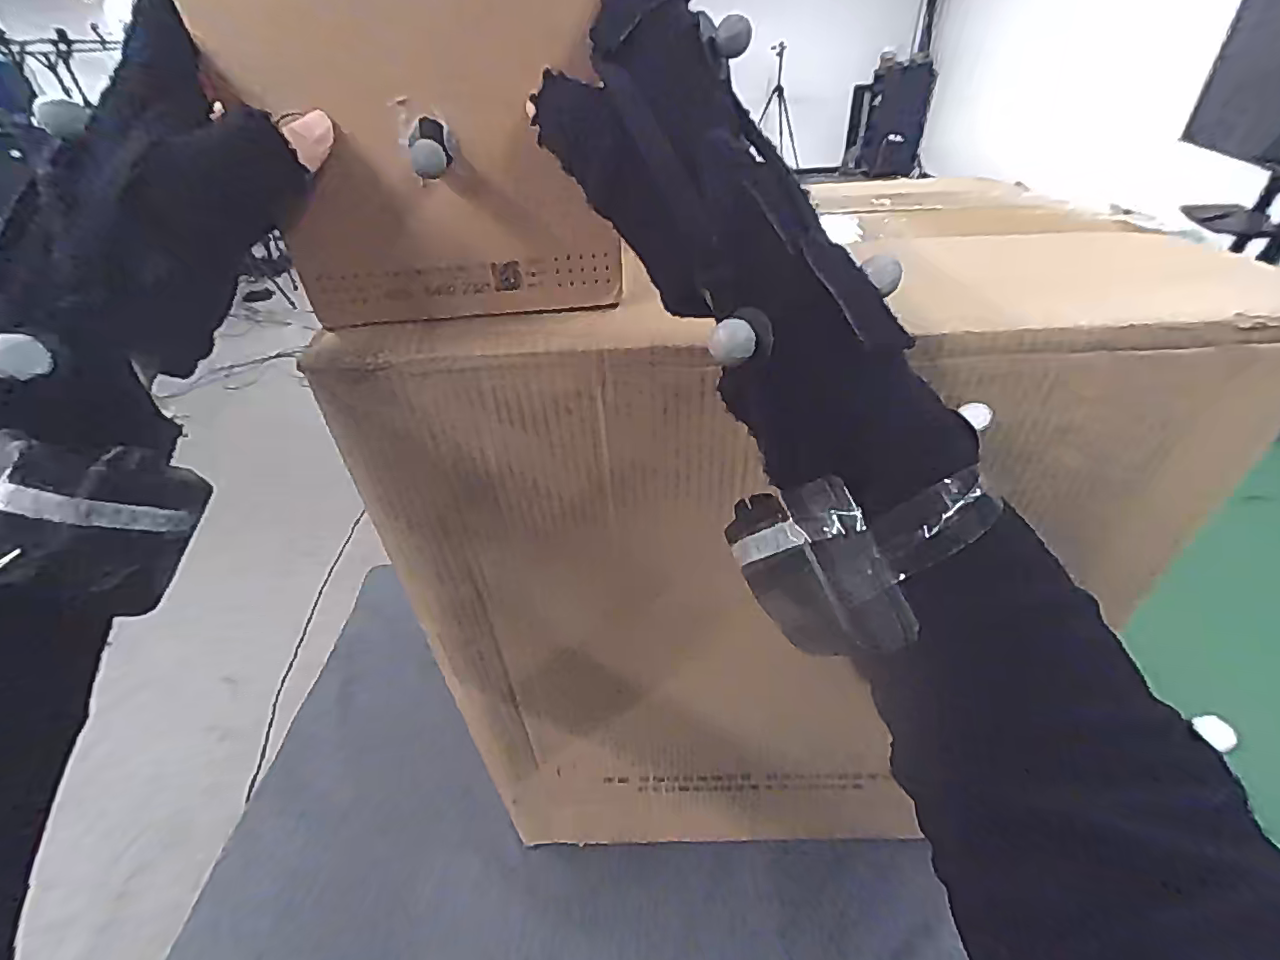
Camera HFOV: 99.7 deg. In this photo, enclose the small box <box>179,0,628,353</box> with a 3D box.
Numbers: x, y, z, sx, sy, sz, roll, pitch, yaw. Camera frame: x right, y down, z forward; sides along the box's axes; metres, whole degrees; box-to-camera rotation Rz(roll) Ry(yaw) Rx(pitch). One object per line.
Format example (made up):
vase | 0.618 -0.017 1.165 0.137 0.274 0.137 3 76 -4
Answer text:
small box | -0.100 -0.185 0.325 0.168 0.176 0.179 -7 39 -2
